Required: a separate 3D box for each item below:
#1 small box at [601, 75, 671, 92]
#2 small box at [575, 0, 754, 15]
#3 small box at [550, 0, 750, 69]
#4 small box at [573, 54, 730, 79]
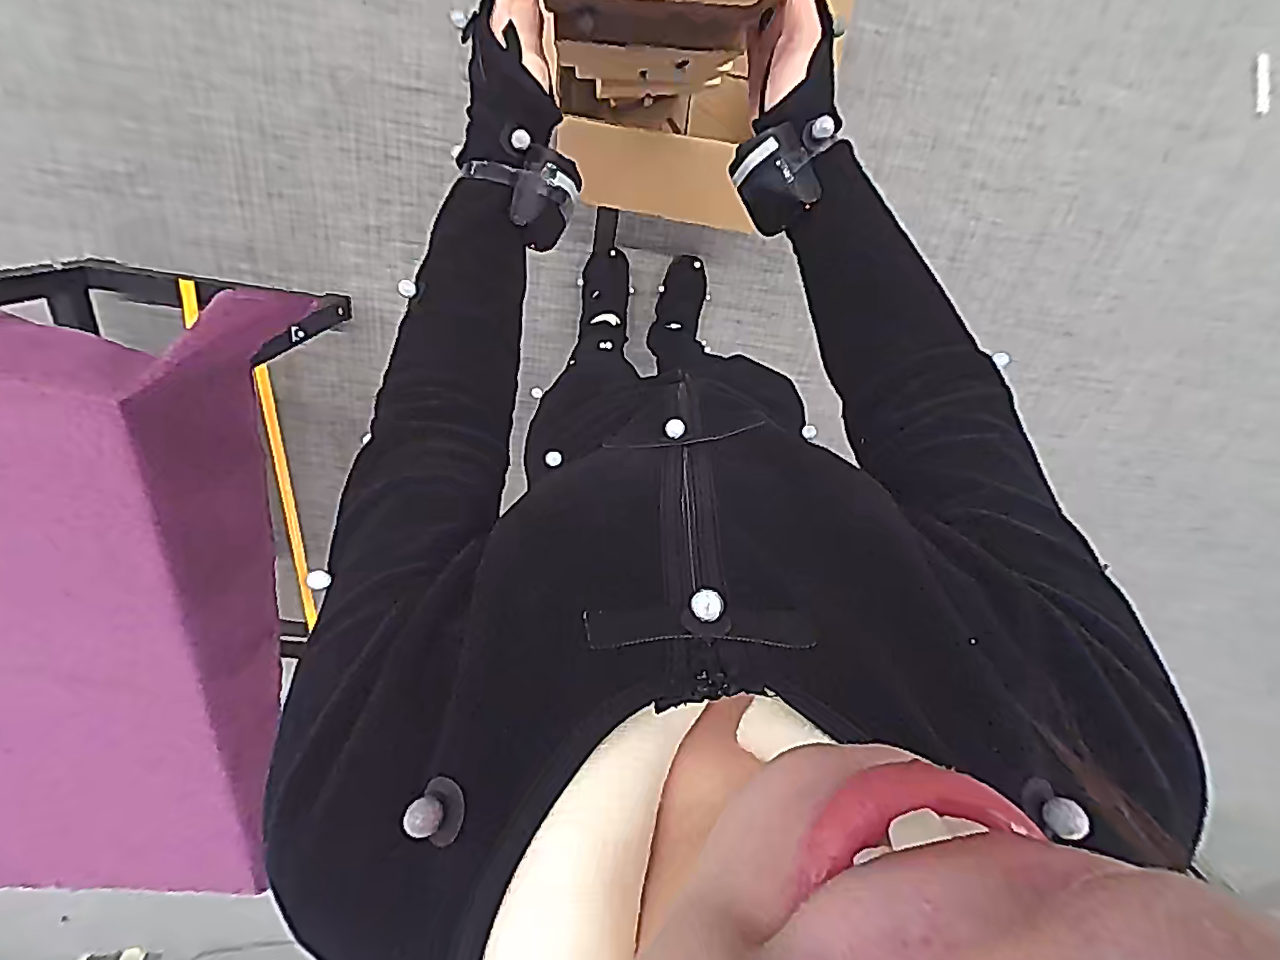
[{"bbox_3d":[0.011,-0.755,0.882,0.179,0.176,0.168,-14,122,1],"label":"small box"},{"bbox_3d":[0.016,-0.408,0.324,0.168,0.176,0.179,-2,122,-7],"label":"small box"},{"bbox_3d":[0.006,-0.479,0.473,0.168,0.176,0.179,-1,122,-7],"label":"small box"},{"bbox_3d":[0.009,-0.565,0.612,0.179,0.176,0.168,-1,123,-6],"label":"small box"}]
